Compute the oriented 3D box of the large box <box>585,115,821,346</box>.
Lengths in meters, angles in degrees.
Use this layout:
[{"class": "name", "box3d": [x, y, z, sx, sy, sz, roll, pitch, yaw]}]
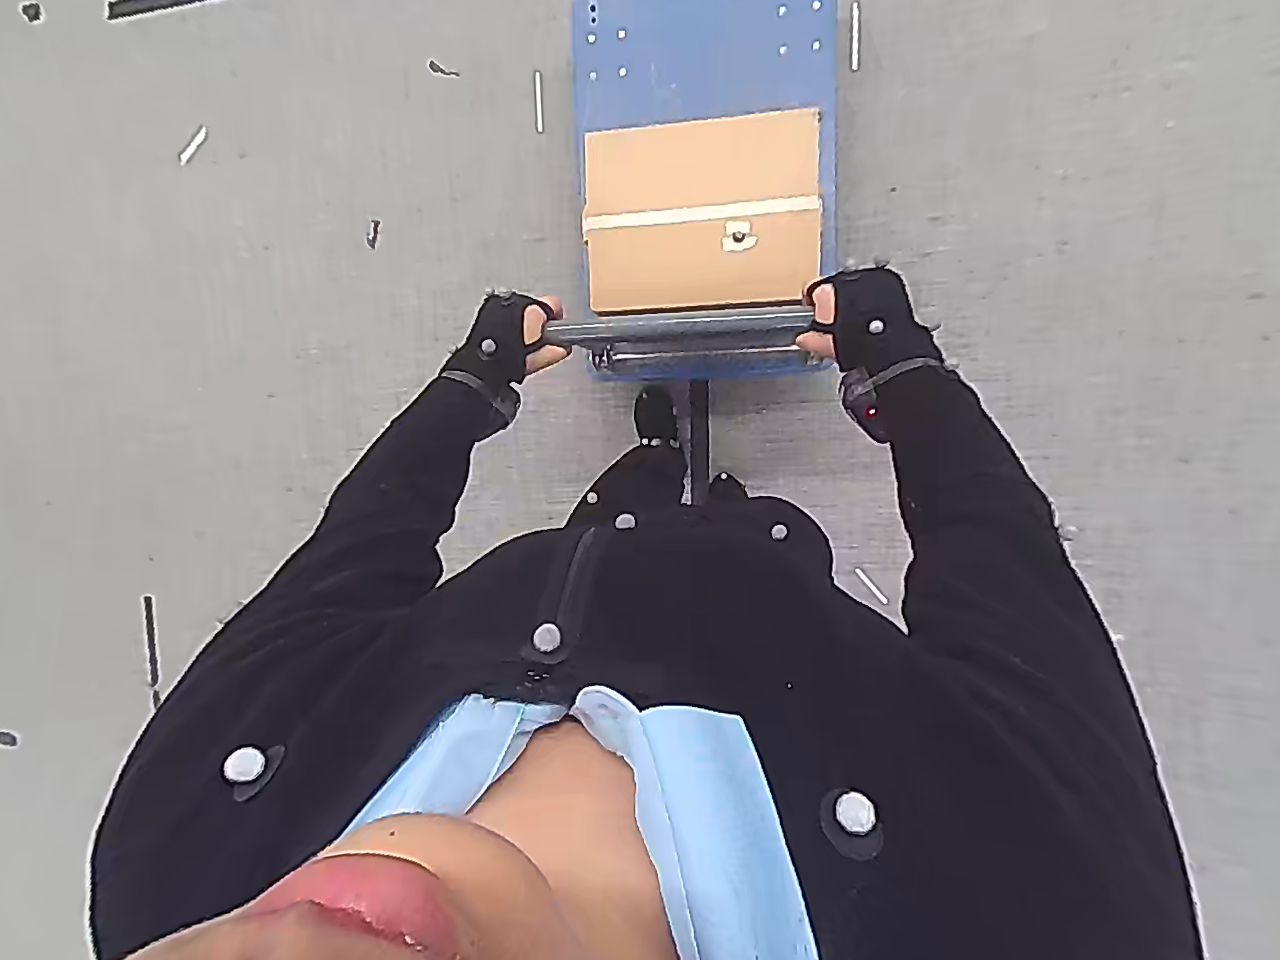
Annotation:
[{"class": "large box", "box3d": [0.123, -0.459, 1.079, 0.408, 0.320, 0.320, -1, 95, 8]}]
